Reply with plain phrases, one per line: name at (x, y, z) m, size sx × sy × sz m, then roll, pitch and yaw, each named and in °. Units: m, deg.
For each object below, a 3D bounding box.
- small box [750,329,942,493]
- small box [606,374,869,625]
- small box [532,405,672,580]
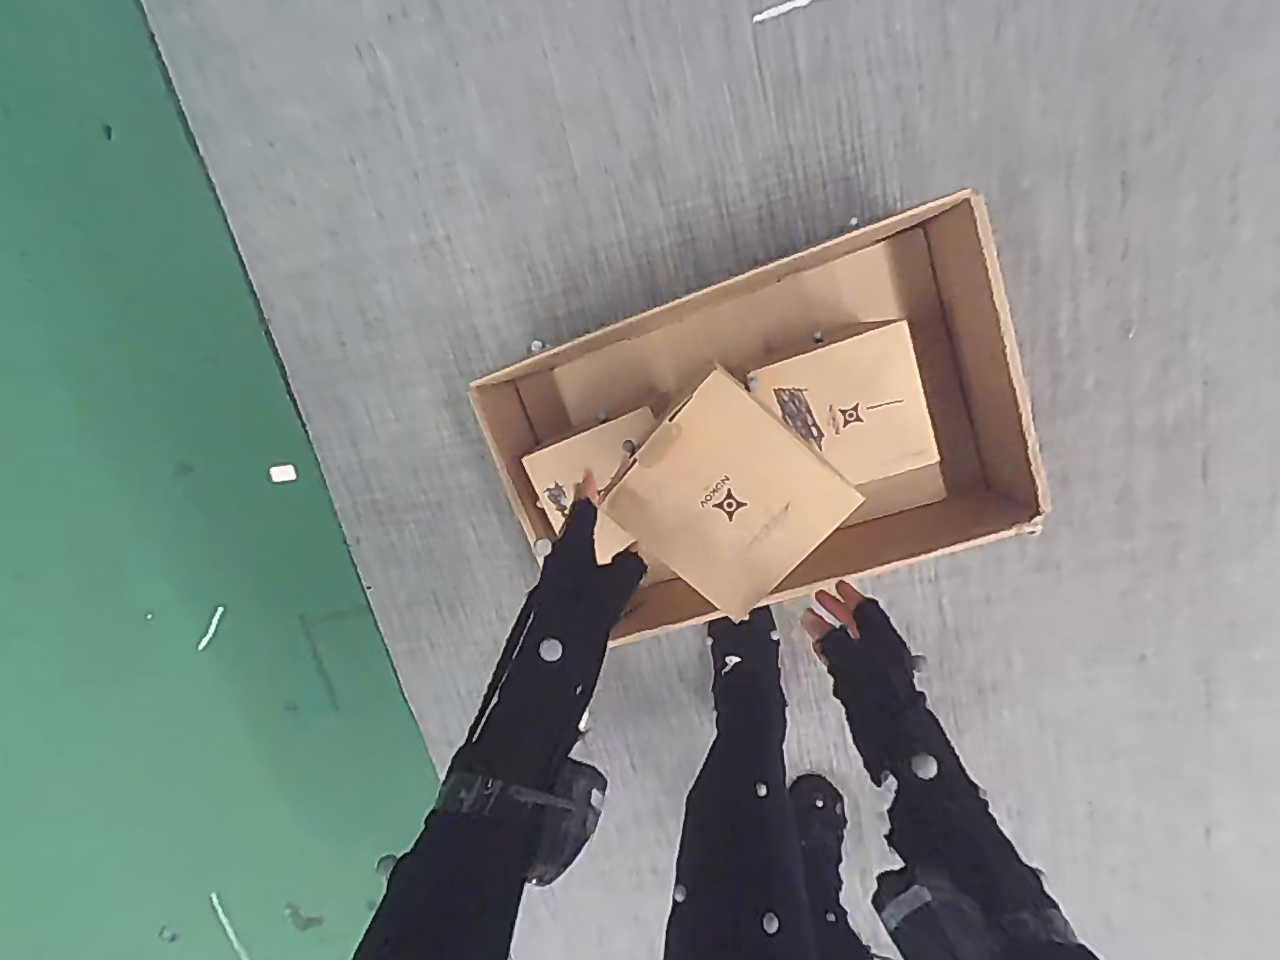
small box at (0.244, -0.081, 0.683) m, size 0.179 × 0.176 × 0.168 m, roll -17°, pitch 102°, yaw 12°
small box at (0.091, 0.006, 0.559) m, size 0.179 × 0.176 × 0.168 m, roll 39°, pitch 106°, yaw -5°
small box at (-0.018, 0.006, 0.739) m, size 0.179 × 0.176 × 0.168 m, roll -22°, pitch 100°, yaw 10°
